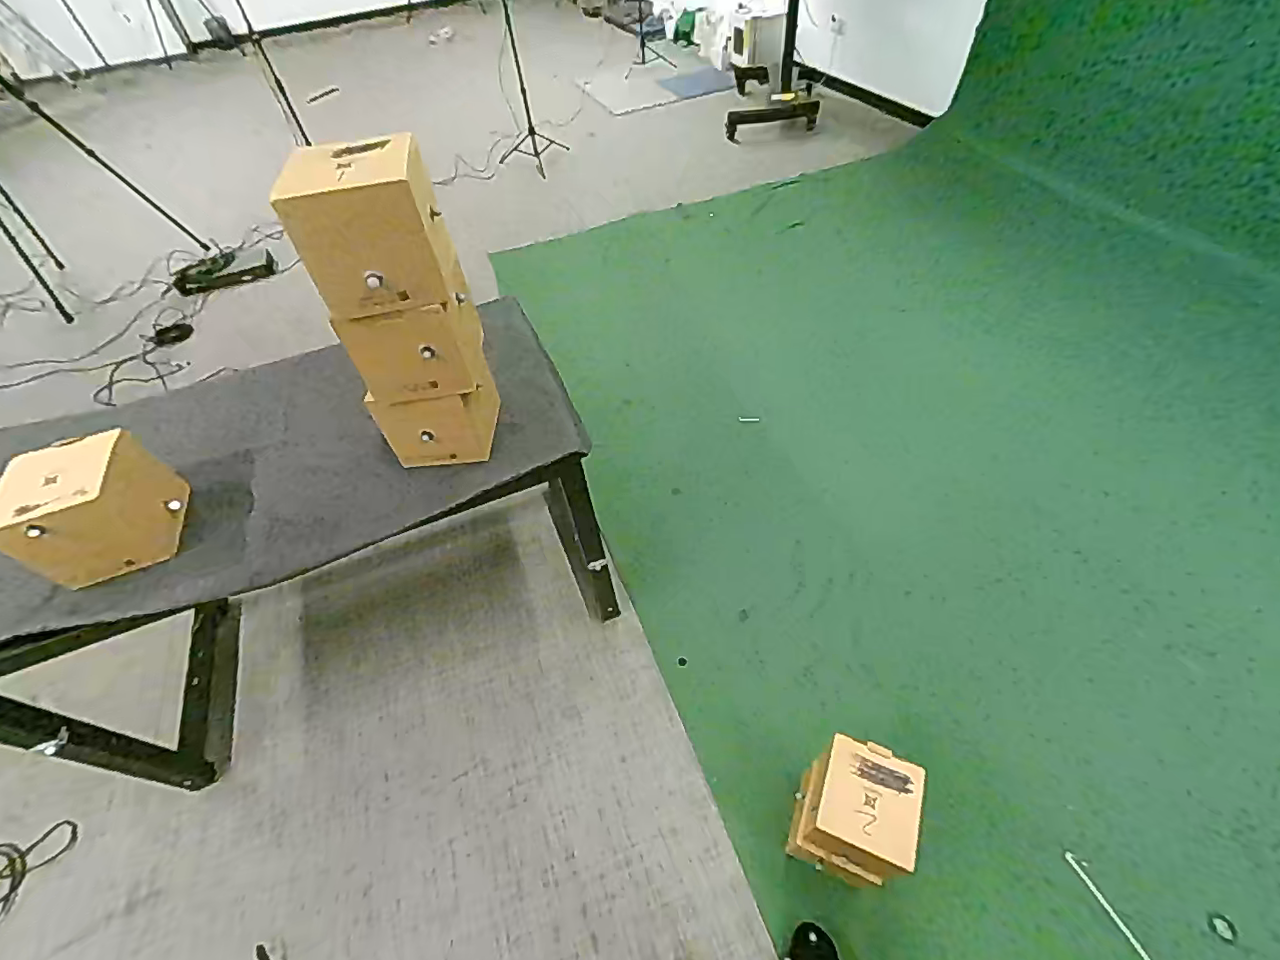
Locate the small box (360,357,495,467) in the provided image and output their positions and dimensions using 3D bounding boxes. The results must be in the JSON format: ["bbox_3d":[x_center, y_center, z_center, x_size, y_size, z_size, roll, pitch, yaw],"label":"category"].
[{"bbox_3d":[-0.381,-0.137,1.008,0.168,0.176,0.179,-4,48,3],"label":"small box"}]

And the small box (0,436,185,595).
[{"bbox_3d":[-0.920,0.061,0.912,0.168,0.176,0.179,-20,50,-10],"label":"small box"}]

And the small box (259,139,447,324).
[{"bbox_3d":[-0.380,-0.345,0.754,0.168,0.176,0.179,-13,50,-5],"label":"small box"}]

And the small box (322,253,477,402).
[{"bbox_3d":[-0.375,-0.241,0.882,0.168,0.176,0.179,-8,48,-1],"label":"small box"}]

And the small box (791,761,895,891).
[{"bbox_3d":[0.426,0.741,1.153,0.168,0.176,0.179,16,54,19],"label":"small box"}]
